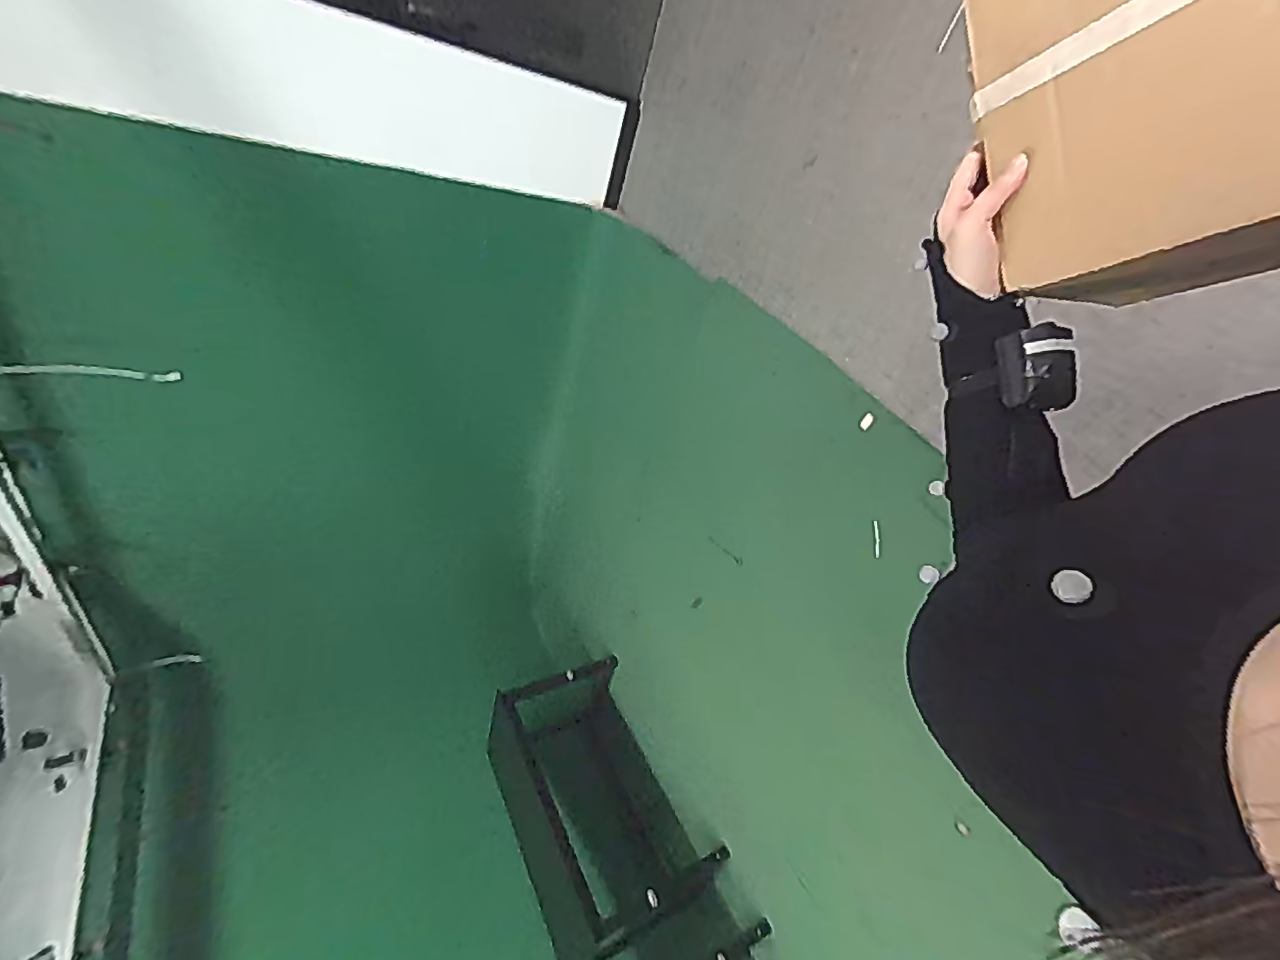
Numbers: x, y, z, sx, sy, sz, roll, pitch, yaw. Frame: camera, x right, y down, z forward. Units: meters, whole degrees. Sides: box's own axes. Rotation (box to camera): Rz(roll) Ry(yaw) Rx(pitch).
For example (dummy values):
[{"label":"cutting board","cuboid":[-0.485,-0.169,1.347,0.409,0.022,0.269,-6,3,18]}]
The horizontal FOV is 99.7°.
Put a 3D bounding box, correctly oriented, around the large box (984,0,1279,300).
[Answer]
[{"label":"large box","cuboid":[0.523,-0.348,0.369,0.408,0.320,0.320,-6,94,53]}]
